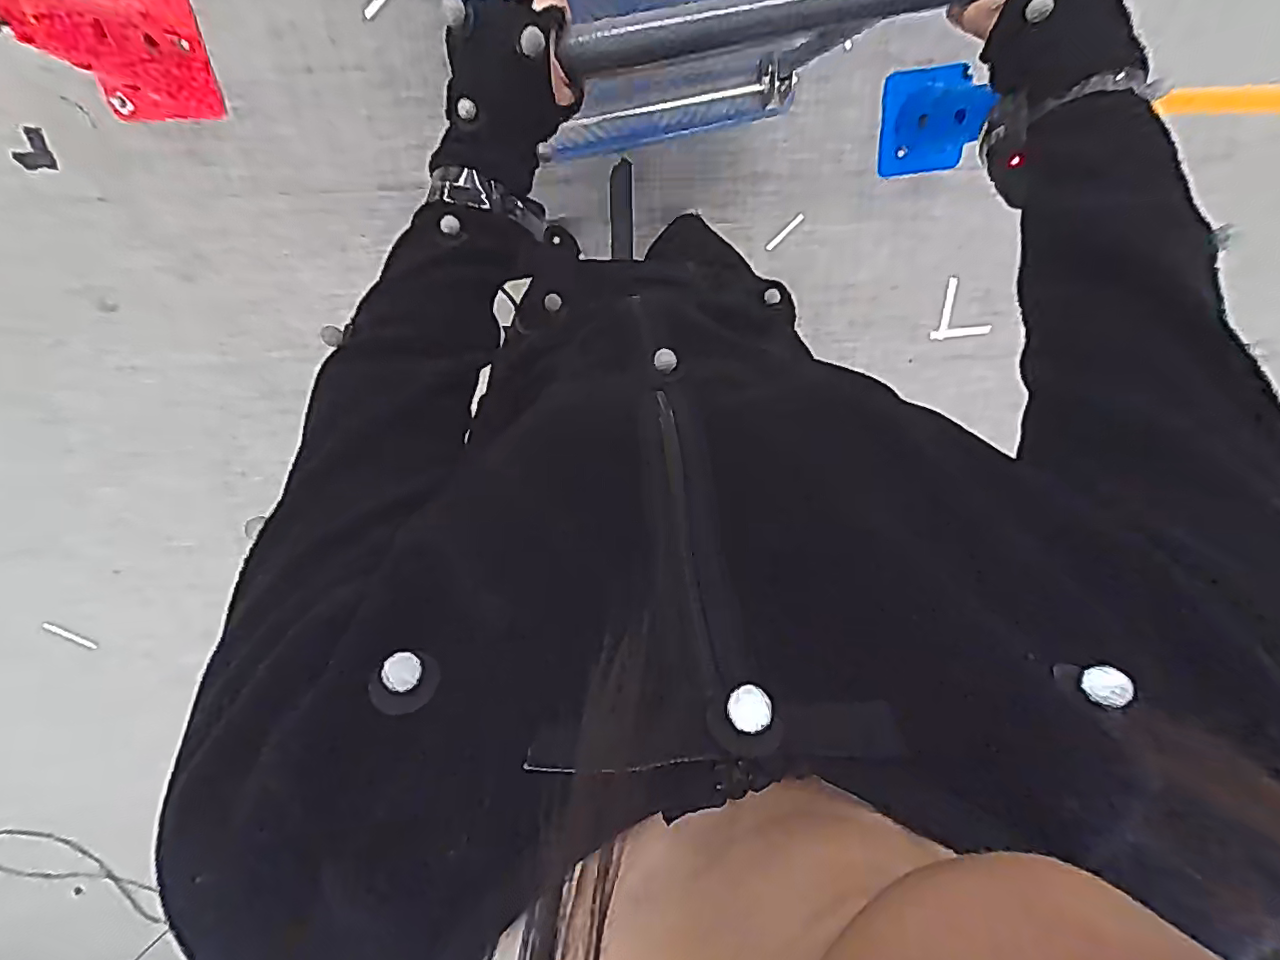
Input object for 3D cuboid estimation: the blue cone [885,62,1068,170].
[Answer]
[{"bbox_3d":[0.659,-0.726,1.051,0.193,0.380,0.192,-8,118,-5],"label":"blue cone"}]
